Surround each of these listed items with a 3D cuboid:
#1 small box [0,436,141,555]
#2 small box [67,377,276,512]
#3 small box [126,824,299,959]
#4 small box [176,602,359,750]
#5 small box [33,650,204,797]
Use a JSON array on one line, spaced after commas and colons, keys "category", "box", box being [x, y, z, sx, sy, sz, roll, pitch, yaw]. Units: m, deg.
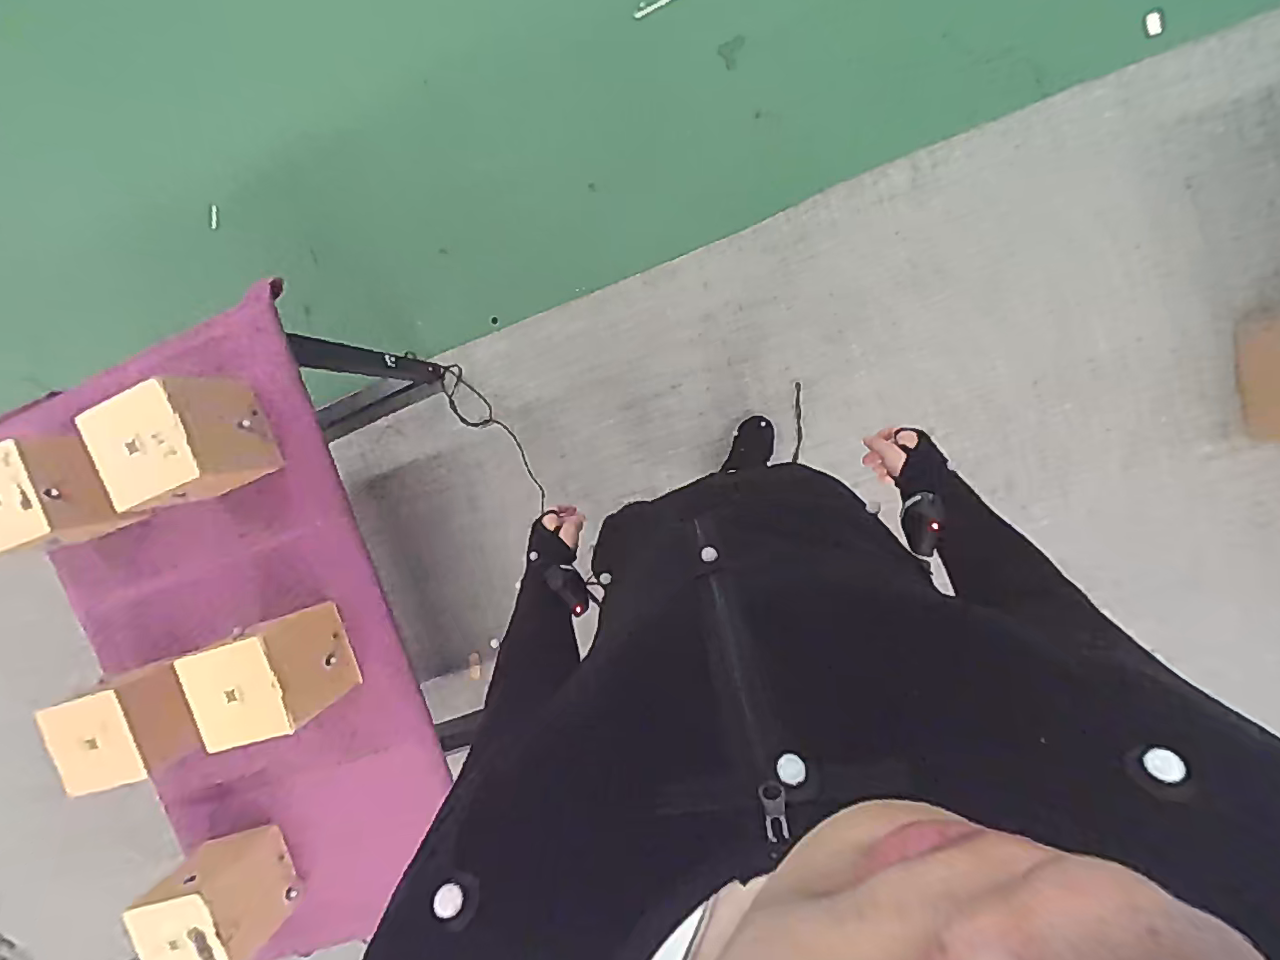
[{"category": "small box", "box": [-1.060, 0.027, 0.959, 0.179, 0.176, 0.168, -18, 96, 9]}, {"category": "small box", "box": [-0.772, -0.062, 0.909, 0.179, 0.176, 0.168, -20, 96, 9]}, {"category": "small box", "box": [-0.786, 0.790, 1.020, 0.179, 0.176, 0.168, -19, 94, 8]}, {"category": "small box", "box": [-0.639, 0.334, 0.947, 0.179, 0.176, 0.168, -18, 94, 10]}, {"category": "small box", "box": [-0.924, 0.439, 0.997, 0.179, 0.176, 0.168, -17, 96, 8]}]
